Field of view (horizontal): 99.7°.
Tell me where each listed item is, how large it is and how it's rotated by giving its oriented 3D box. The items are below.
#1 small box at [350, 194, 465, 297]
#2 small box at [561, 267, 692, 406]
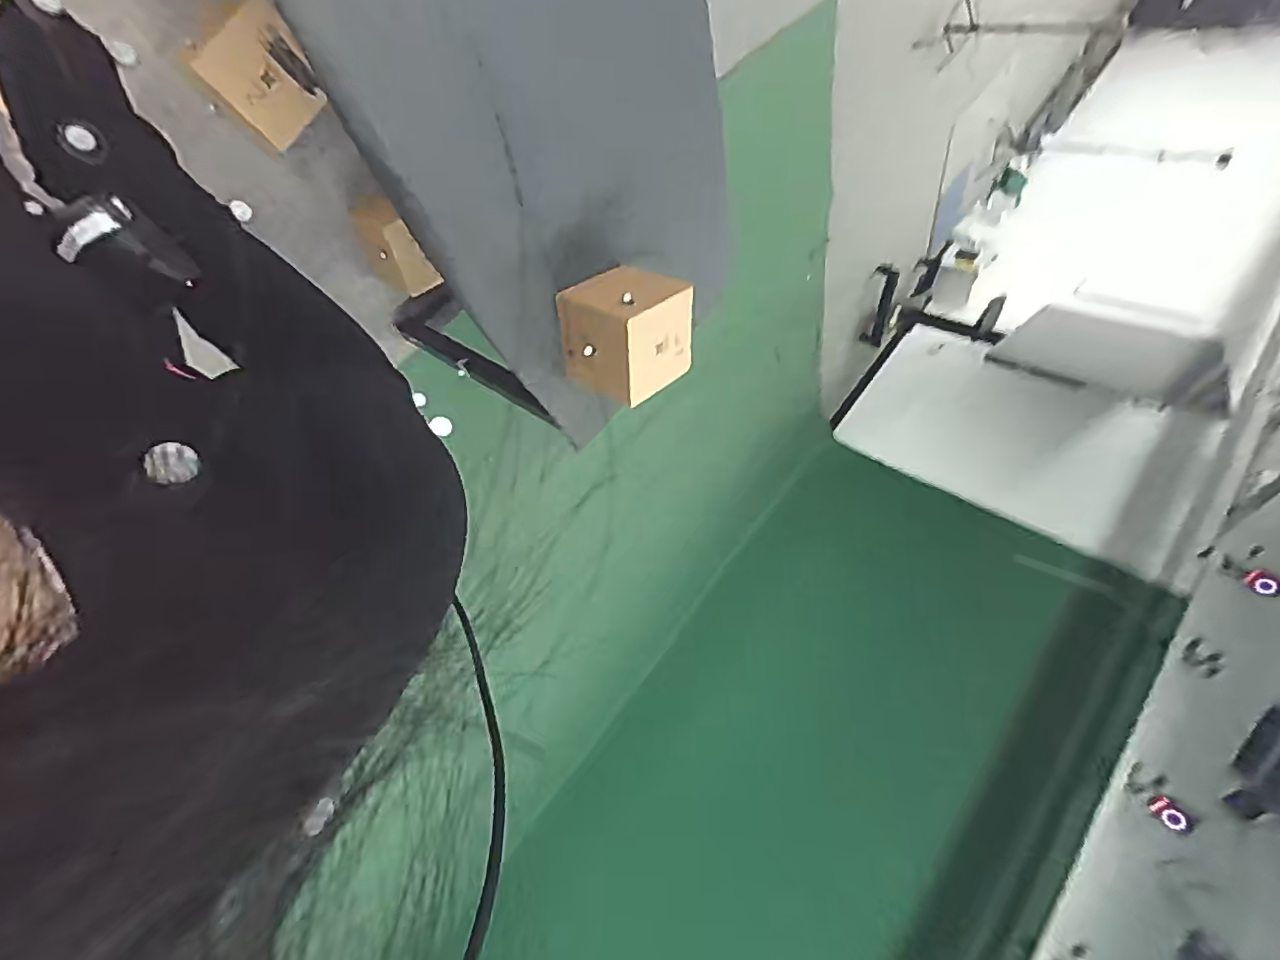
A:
[{"bbox_3d":[-0.573,-0.586,1.334,0.168,0.176,0.179,-42,146,-26],"label":"small box"},{"bbox_3d":[-0.027,-0.263,0.969,0.179,0.176,0.168,-39,143,-34],"label":"small box"}]
